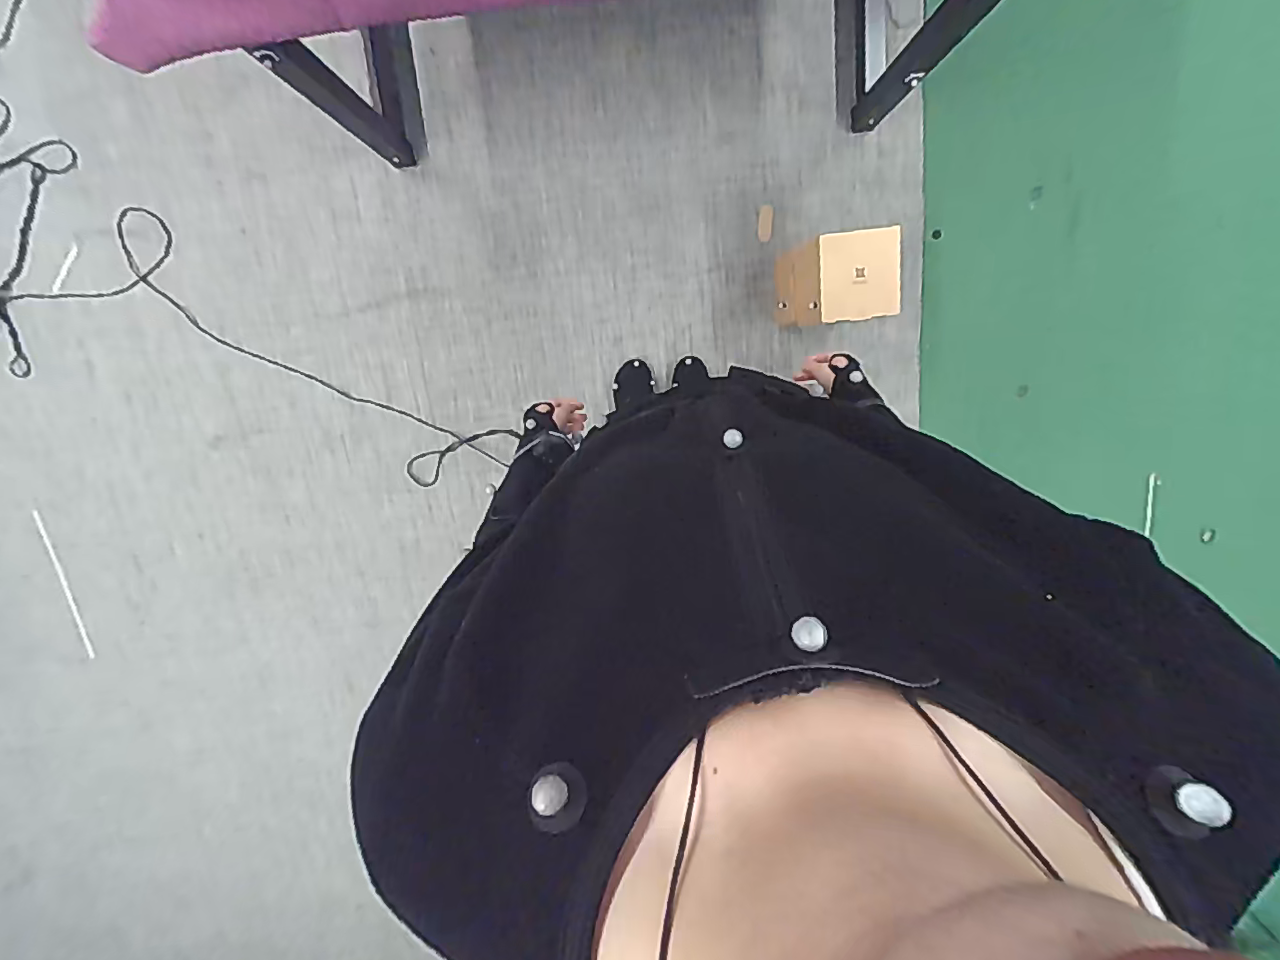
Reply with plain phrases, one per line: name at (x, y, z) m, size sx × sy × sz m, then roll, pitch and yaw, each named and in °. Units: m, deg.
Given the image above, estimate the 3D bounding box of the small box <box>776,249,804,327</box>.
small box at (0.439, -0.472, 1.335) m, size 0.179 × 0.176 × 0.168 m, roll -4°, pitch 103°, yaw 0°

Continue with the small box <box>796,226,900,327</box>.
small box at (0.445, -0.434, 1.177) m, size 0.168 × 0.176 × 0.179 m, roll -6°, pitch 104°, yaw 1°
